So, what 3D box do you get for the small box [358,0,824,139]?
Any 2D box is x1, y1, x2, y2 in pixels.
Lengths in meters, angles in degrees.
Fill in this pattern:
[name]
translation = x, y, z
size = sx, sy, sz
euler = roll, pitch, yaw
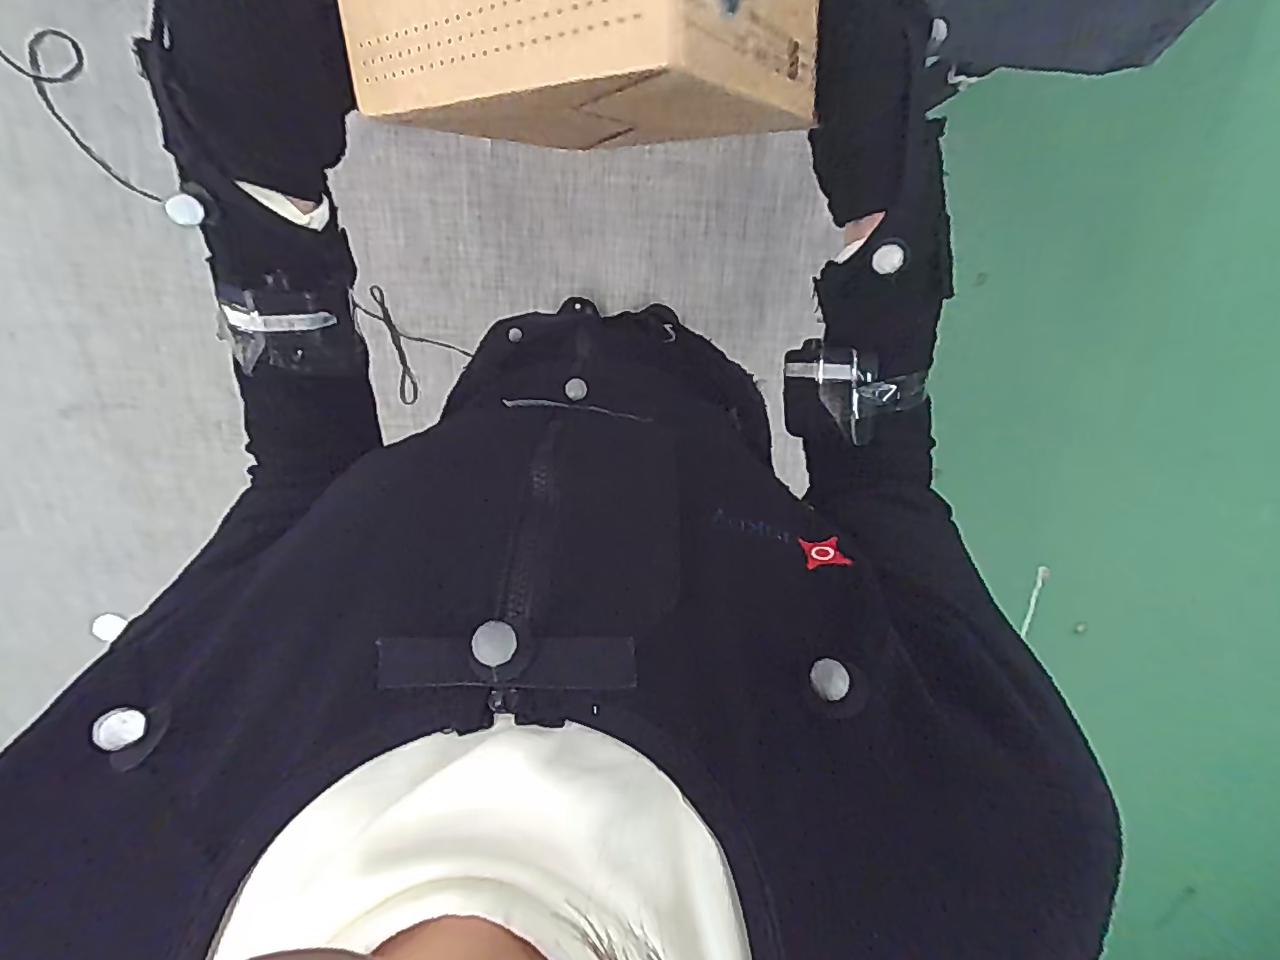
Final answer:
[small box]
translation = -0.016, -0.265, 0.249
size = 0.179, 0.168, 0.176
euler = 14, 119, 29
